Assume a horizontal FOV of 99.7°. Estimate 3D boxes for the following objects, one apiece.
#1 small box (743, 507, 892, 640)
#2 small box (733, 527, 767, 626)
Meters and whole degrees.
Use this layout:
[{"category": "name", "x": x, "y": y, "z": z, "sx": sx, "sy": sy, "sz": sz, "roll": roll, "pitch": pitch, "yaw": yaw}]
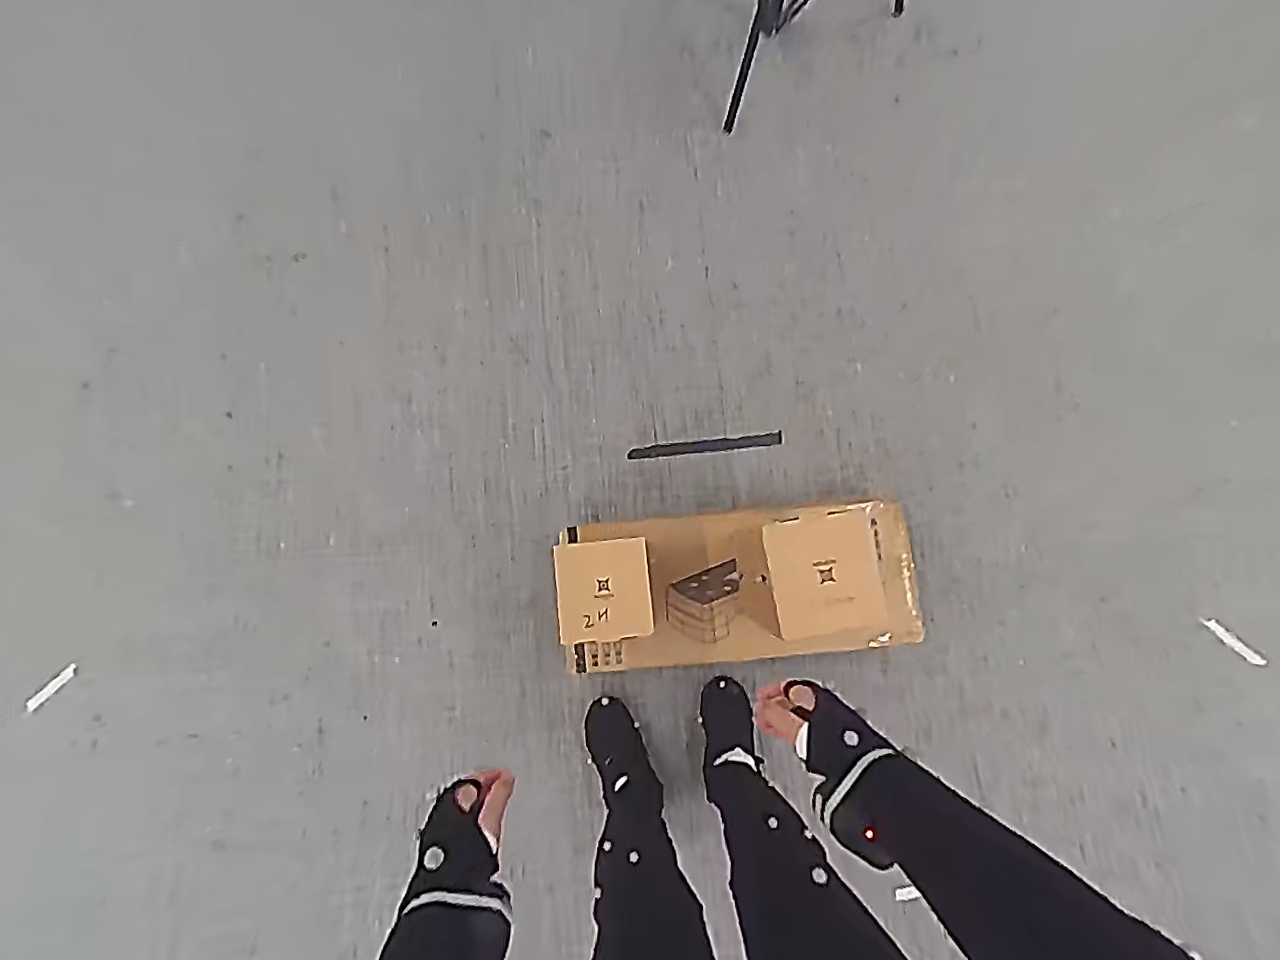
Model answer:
[{"category": "small box", "x": 0.275, "y": 0.149, "z": 0.878, "sx": 0.168, "sy": 0.176, "sz": 0.179, "roll": -10, "pitch": 82, "yaw": -1}, {"category": "small box", "x": 0.282, "y": 0.173, "z": 1.040, "sx": 0.168, "sy": 0.176, "sz": 0.179, "roll": -7, "pitch": 82, "yaw": -2}]
